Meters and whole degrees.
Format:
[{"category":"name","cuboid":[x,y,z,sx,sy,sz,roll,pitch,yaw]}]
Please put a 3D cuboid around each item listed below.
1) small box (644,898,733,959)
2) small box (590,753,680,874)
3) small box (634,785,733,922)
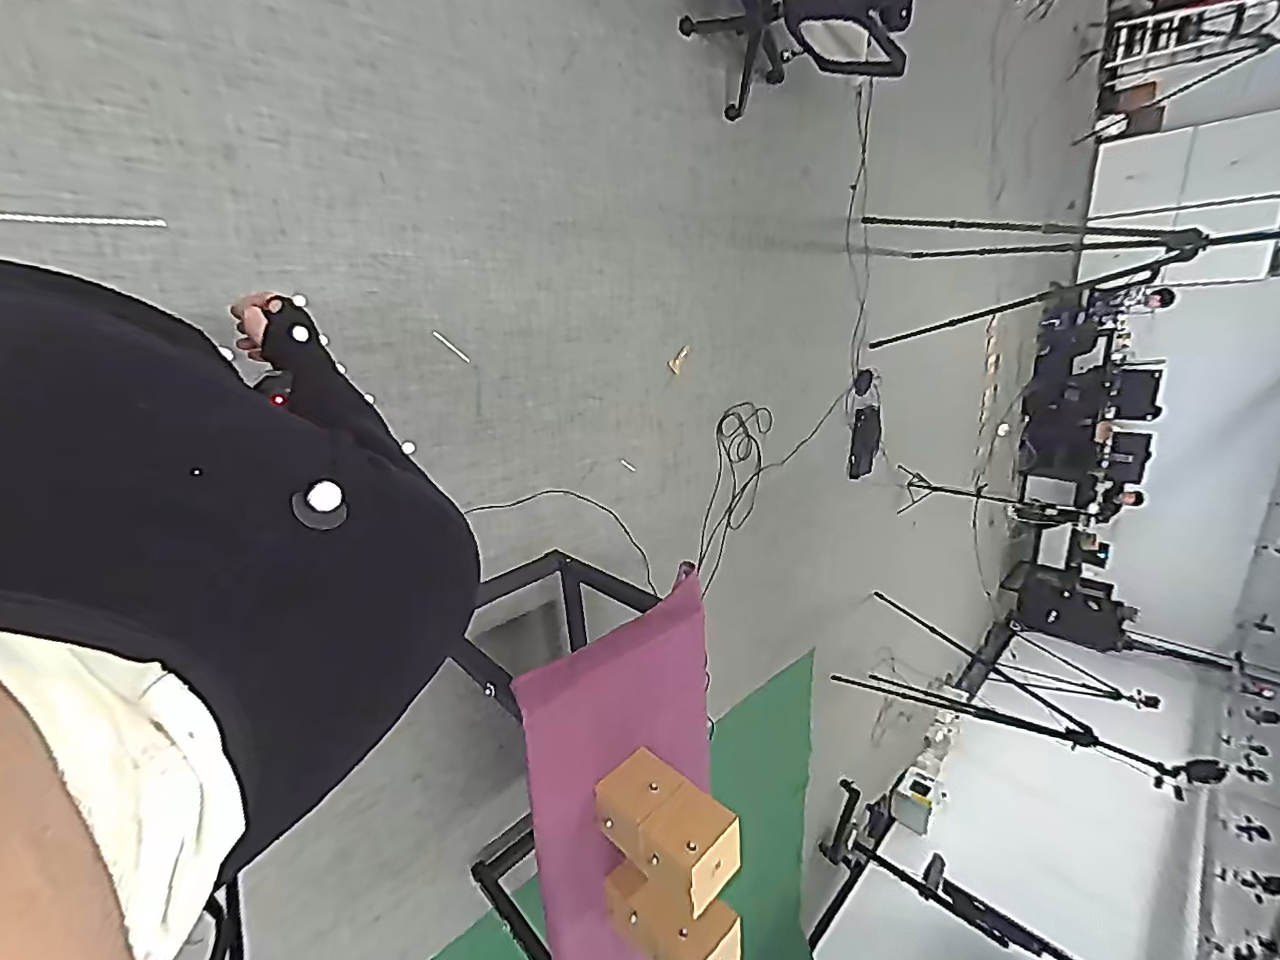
[{"category":"small box","cuboid":[0.123,1.207,1.406,0.179,0.176,0.168,-18,113,-42]},{"category":"small box","cuboid":[-0.009,0.863,1.423,0.179,0.176,0.168,-20,114,-40]},{"category":"small box","cuboid":[0.106,0.891,1.312,0.179,0.176,0.168,-21,115,-40]}]
